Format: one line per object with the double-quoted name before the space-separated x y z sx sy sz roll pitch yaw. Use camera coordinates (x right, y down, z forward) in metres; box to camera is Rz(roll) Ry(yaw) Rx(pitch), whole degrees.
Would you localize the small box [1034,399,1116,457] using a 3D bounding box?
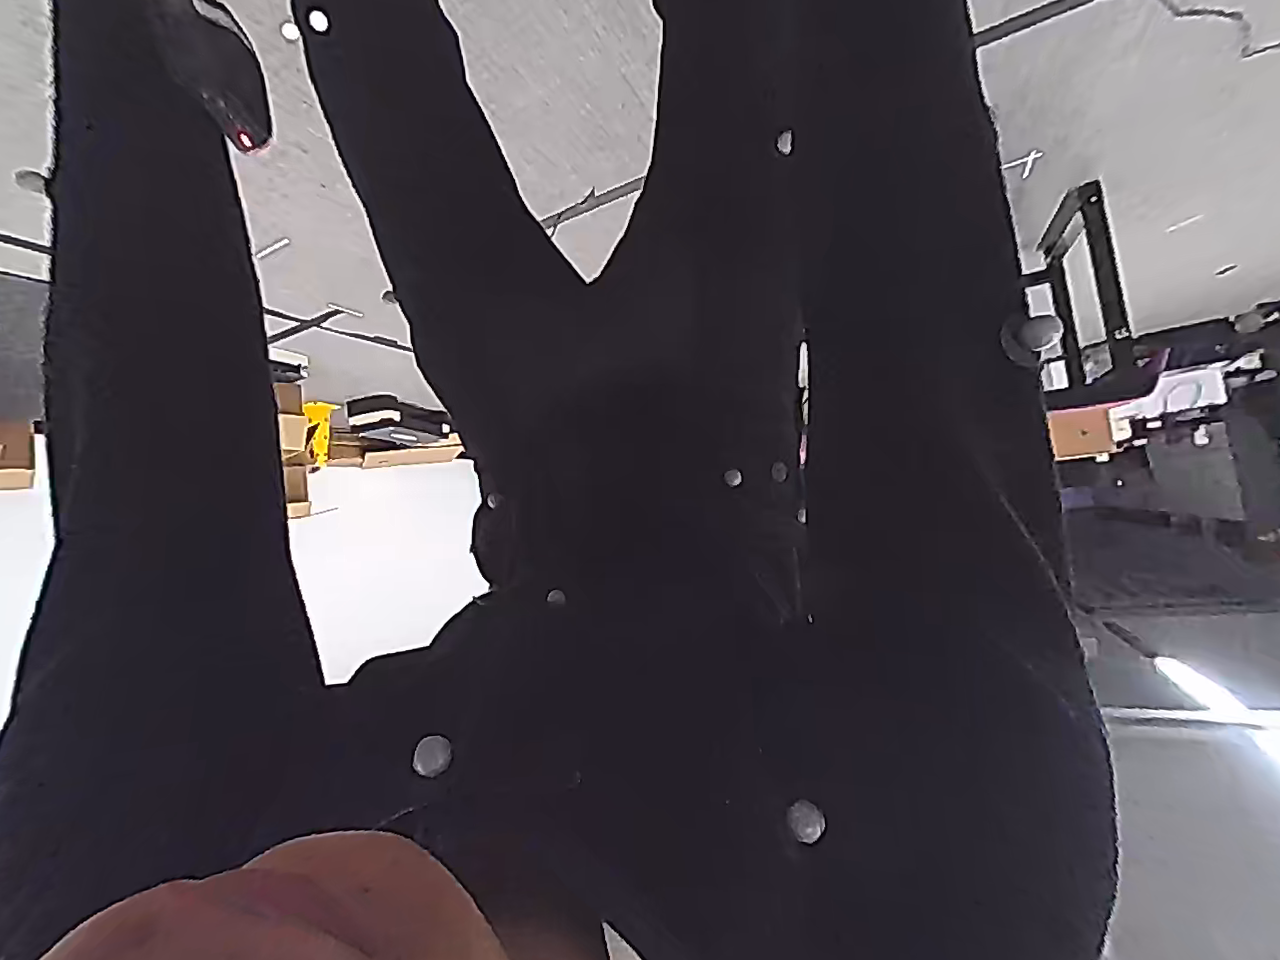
"small box" 1.527 -0.180 1.909 0.179 0.176 0.168 -10 175 25
